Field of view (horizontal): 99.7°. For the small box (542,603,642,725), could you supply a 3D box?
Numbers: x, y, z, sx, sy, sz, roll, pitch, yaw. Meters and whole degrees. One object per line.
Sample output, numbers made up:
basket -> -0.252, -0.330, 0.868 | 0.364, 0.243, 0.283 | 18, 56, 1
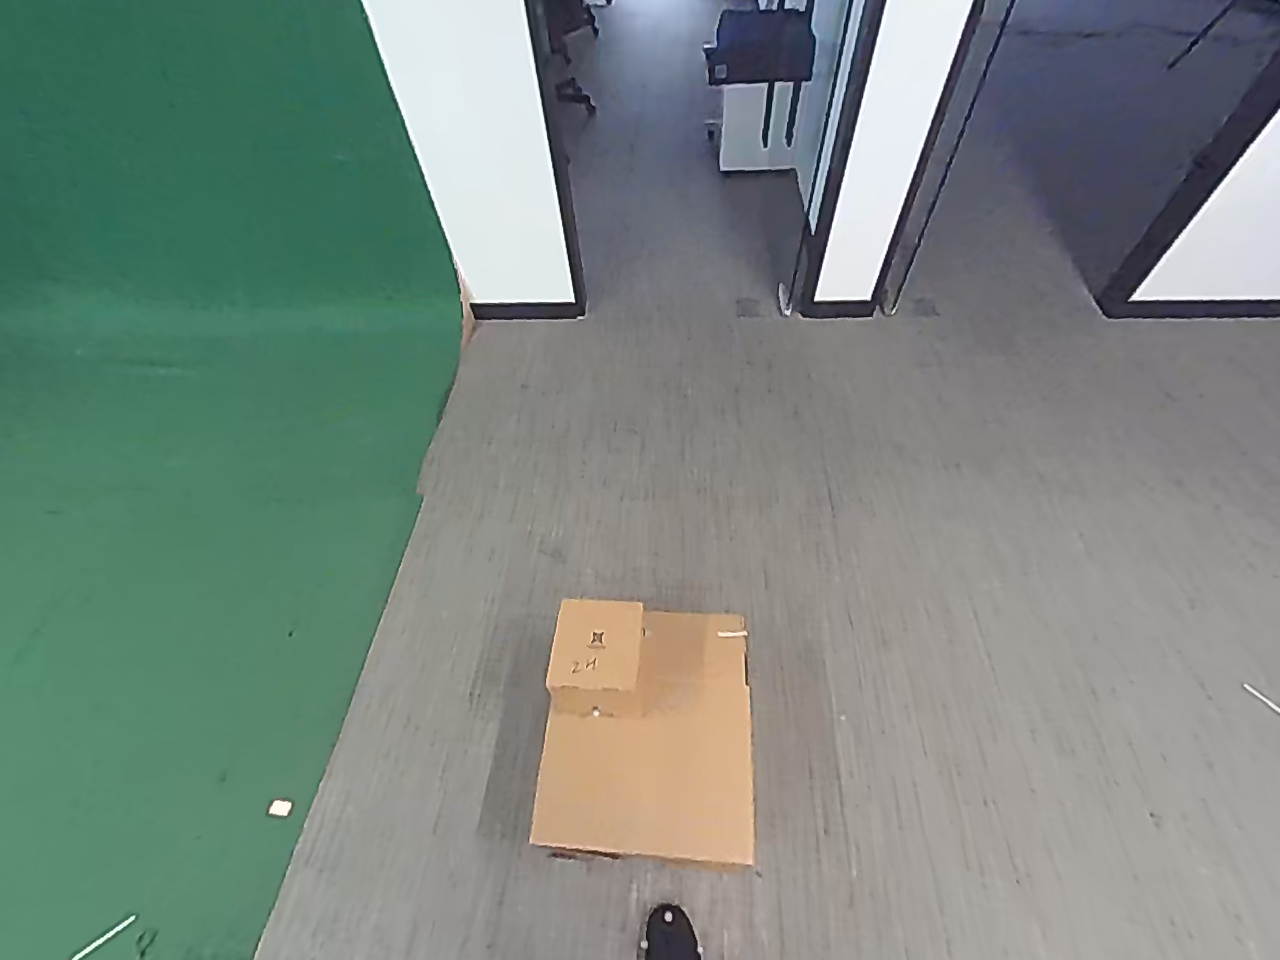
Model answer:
small box -> -0.086, 0.366, 1.074 | 0.168, 0.176, 0.179 | 1, 50, 5
